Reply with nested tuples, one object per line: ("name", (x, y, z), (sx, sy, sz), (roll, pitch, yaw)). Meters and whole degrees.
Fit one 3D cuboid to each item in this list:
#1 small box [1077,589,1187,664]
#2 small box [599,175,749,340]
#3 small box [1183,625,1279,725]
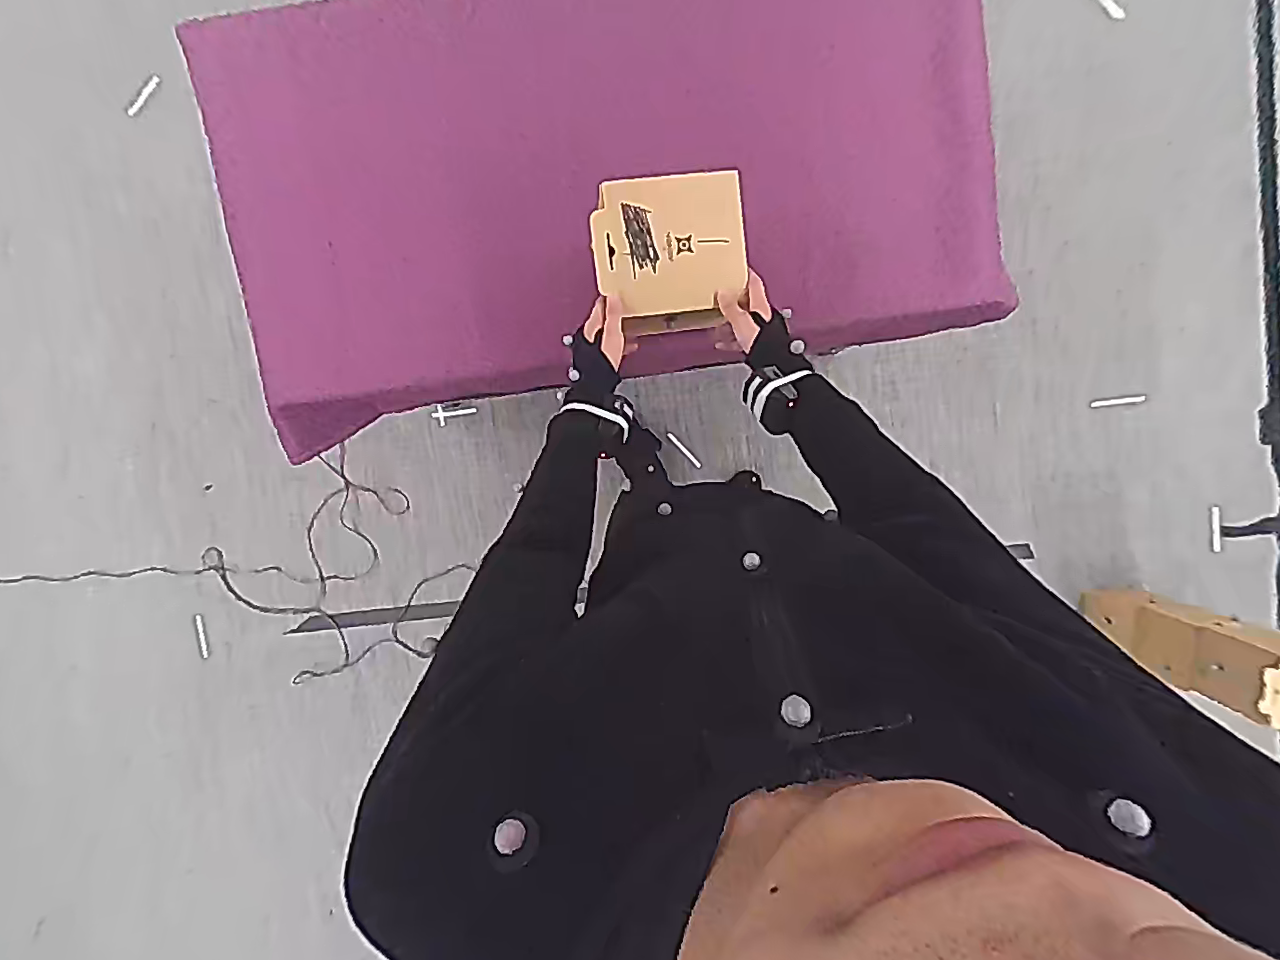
("small box", (1.416, 0.420, 1.568), (0.179, 0.176, 0.168), (-3, 96, 1))
("small box", (0.038, -0.297, 0.754), (0.179, 0.176, 0.168), (-8, 97, -6))
("small box", (1.423, 0.441, 1.238), (0.179, 0.176, 0.168), (2, 96, 1))
